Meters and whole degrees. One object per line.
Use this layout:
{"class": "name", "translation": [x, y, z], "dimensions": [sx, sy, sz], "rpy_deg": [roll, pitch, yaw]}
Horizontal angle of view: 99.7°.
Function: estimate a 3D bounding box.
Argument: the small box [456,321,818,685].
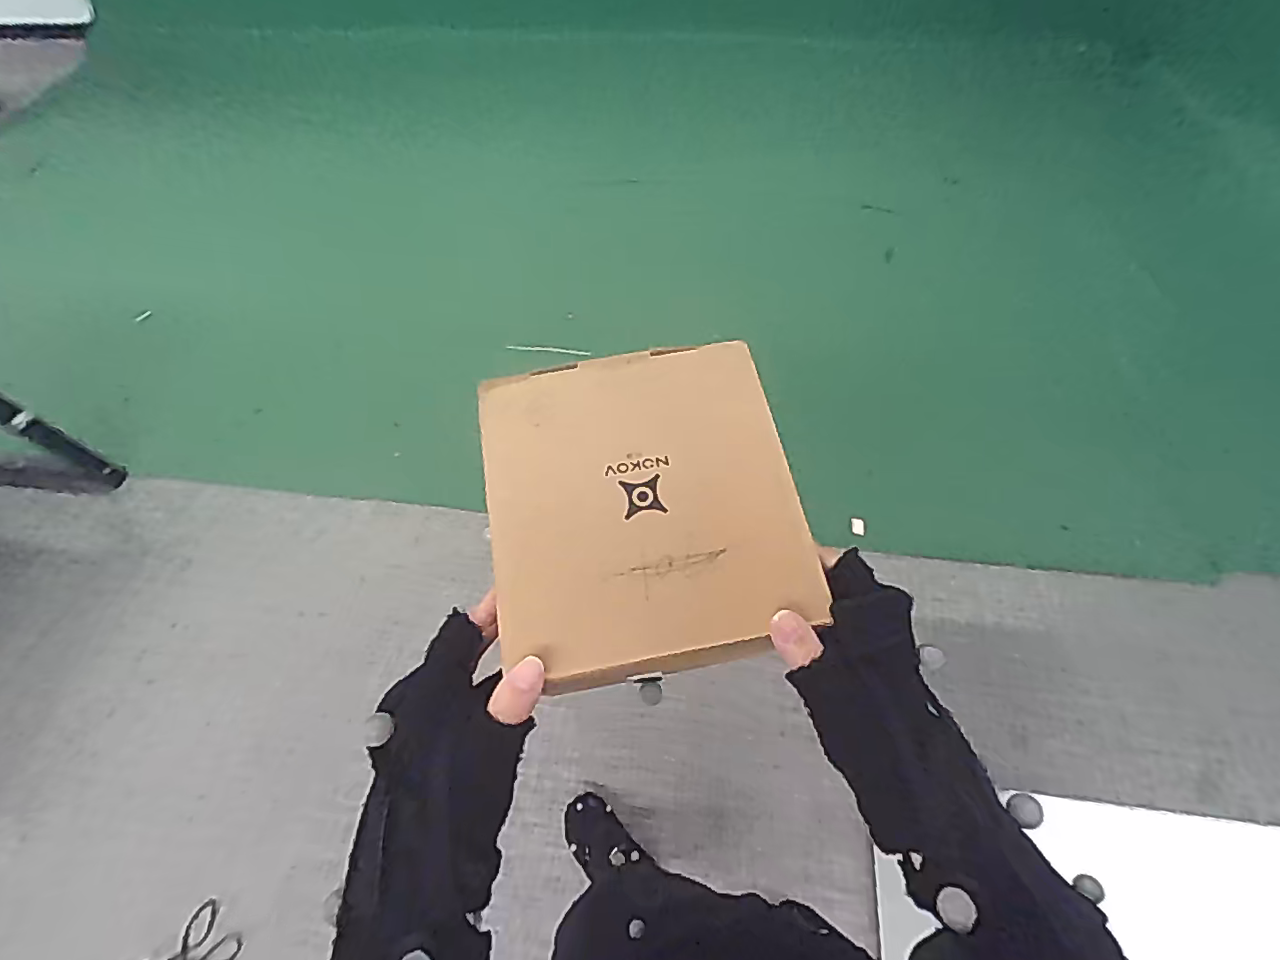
{"class": "small box", "translation": [-0.011, 0.027, 0.356], "dimensions": [0.168, 0.176, 0.179], "rpy_deg": [-10, 68, -5]}
